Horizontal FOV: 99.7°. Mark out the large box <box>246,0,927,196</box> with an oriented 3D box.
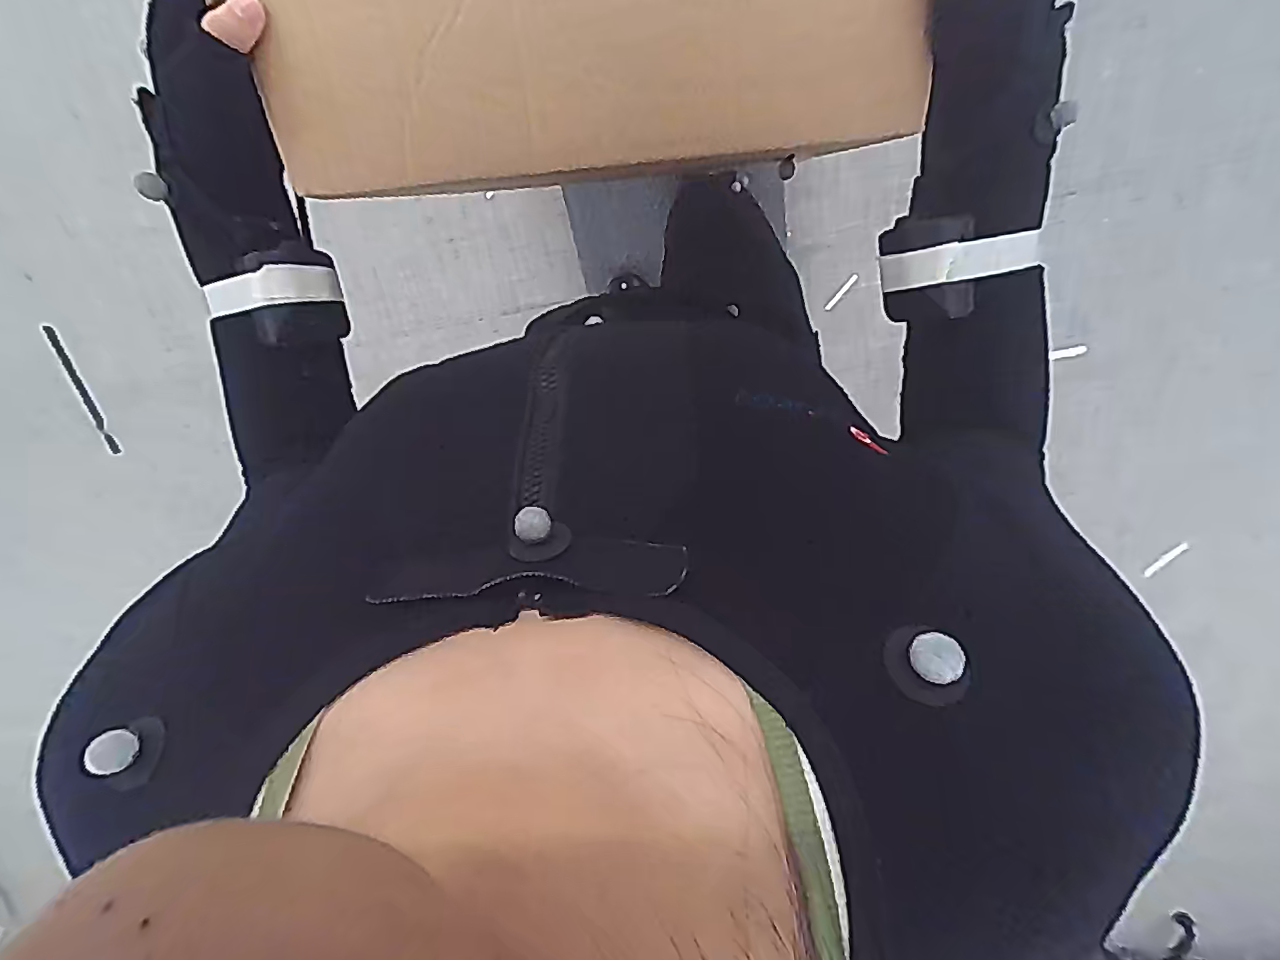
[{"bbox_3d":[-0.033,-0.414,0.414,0.408,0.320,0.320,-3,117,4],"label":"large box"}]
